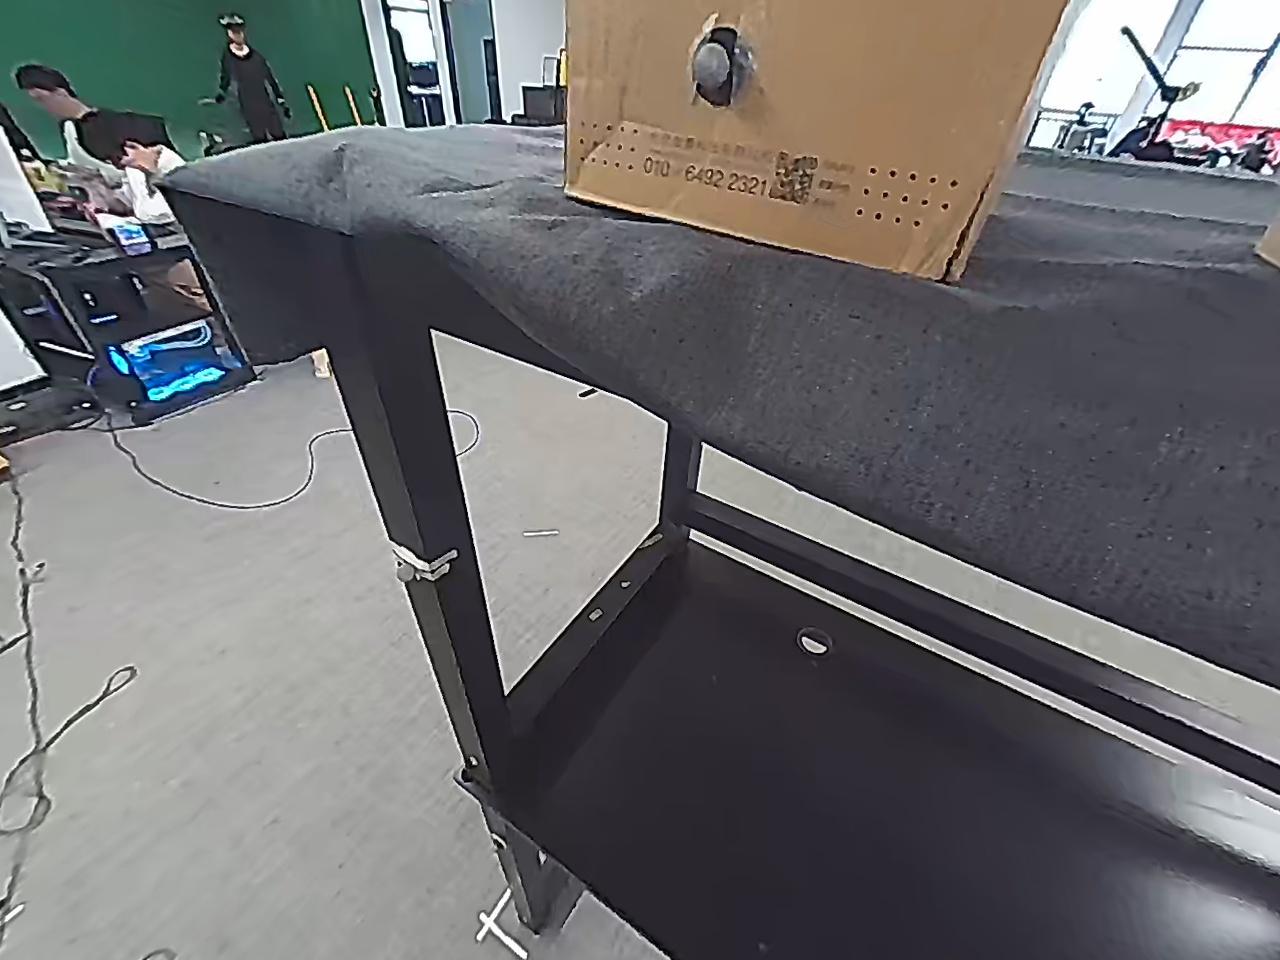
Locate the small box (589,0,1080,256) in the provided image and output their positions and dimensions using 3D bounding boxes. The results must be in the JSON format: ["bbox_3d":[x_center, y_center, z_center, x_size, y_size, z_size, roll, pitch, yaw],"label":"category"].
[{"bbox_3d":[0.088,-0.209,0.222,0.168,0.176,0.179,24,41,22],"label":"small box"}]
